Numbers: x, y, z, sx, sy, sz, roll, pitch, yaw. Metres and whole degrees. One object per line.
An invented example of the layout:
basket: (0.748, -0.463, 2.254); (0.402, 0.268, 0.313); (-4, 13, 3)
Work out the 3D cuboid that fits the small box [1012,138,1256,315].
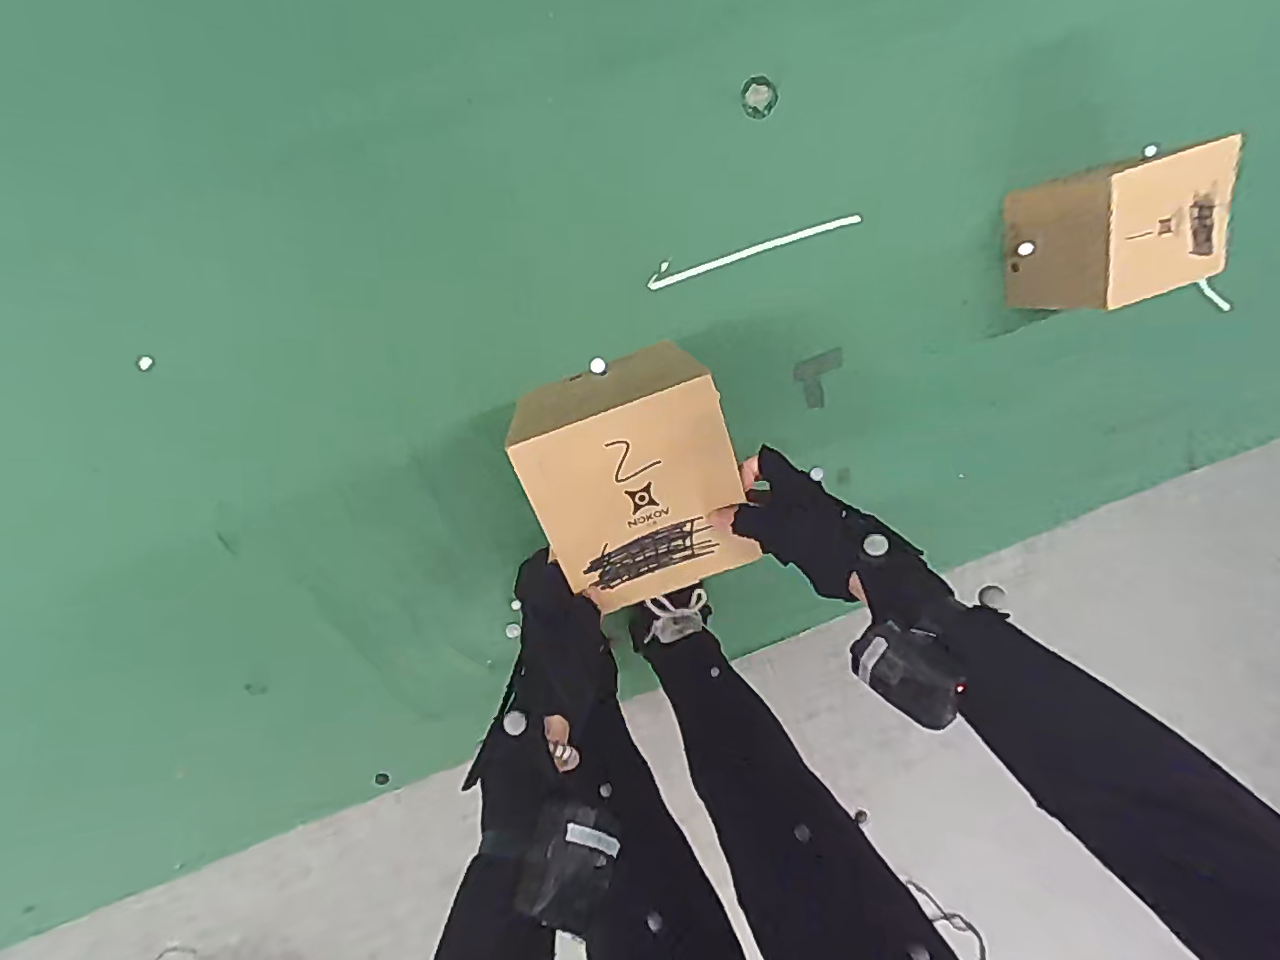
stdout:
small box: (0.652, -0.335, 0.736); (0.179, 0.176, 0.168); (-19, 112, -3)
